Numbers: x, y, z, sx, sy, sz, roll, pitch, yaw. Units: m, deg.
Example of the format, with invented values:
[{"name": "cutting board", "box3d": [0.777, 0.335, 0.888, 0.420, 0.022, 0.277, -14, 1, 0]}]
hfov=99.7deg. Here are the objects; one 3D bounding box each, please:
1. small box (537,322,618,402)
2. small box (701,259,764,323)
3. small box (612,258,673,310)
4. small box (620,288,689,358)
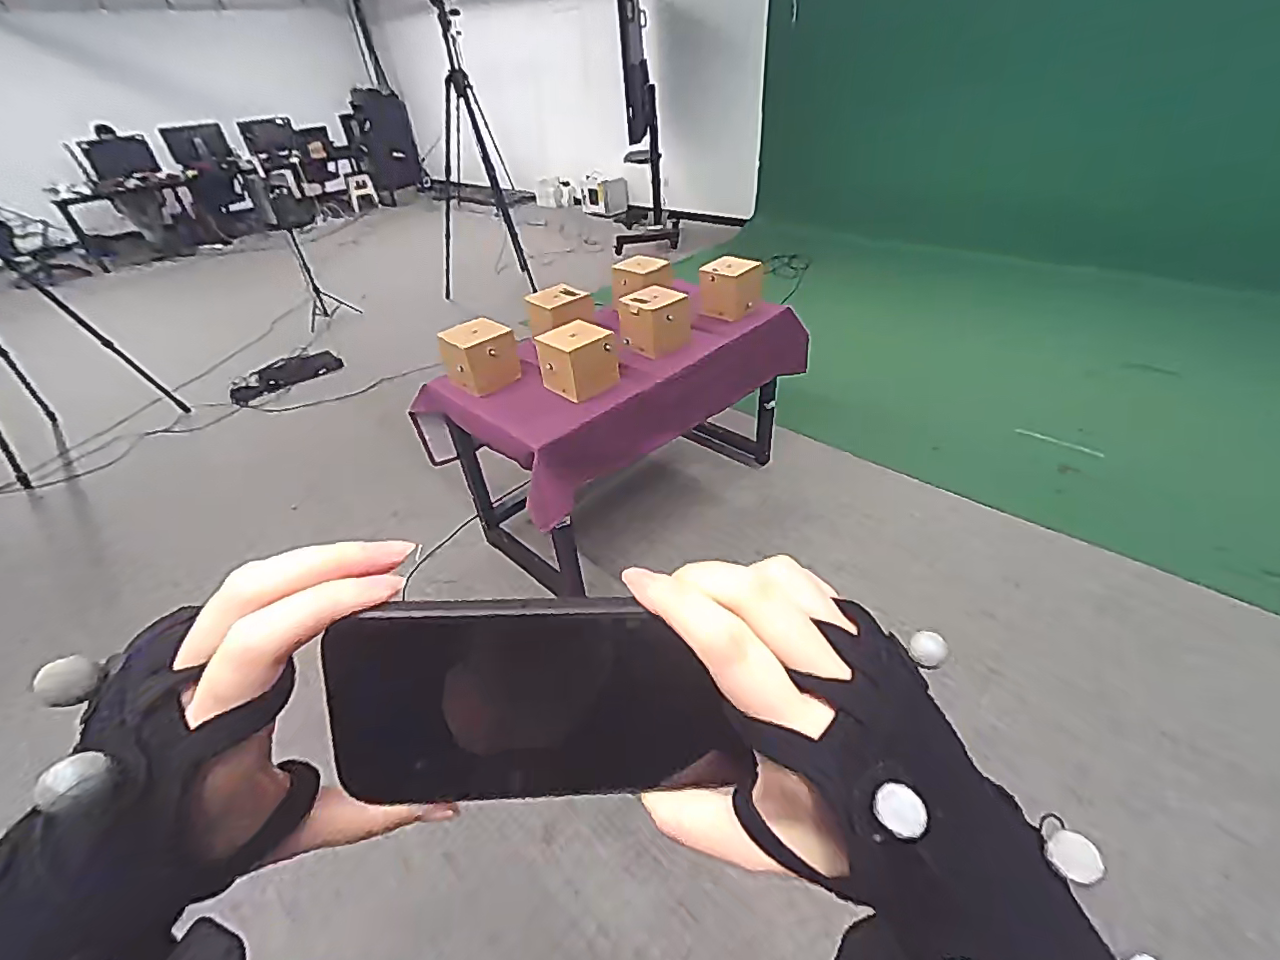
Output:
[{"name": "small box", "box3d": [-0.182, -0.354, 1.630, 0.179, 0.176, 0.168, -32, 45, -32]}, {"name": "small box", "box3d": [0.342, -0.708, 2.020, 0.168, 0.176, 0.179, 28, 48, 35]}, {"name": "small box", "box3d": [0.012, -0.752, 2.112, 0.179, 0.176, 0.168, 27, 49, 34]}, {"name": "small box", "box3d": [0.054, -0.529, 1.826, 0.179, 0.176, 0.168, -31, 45, -31]}]
